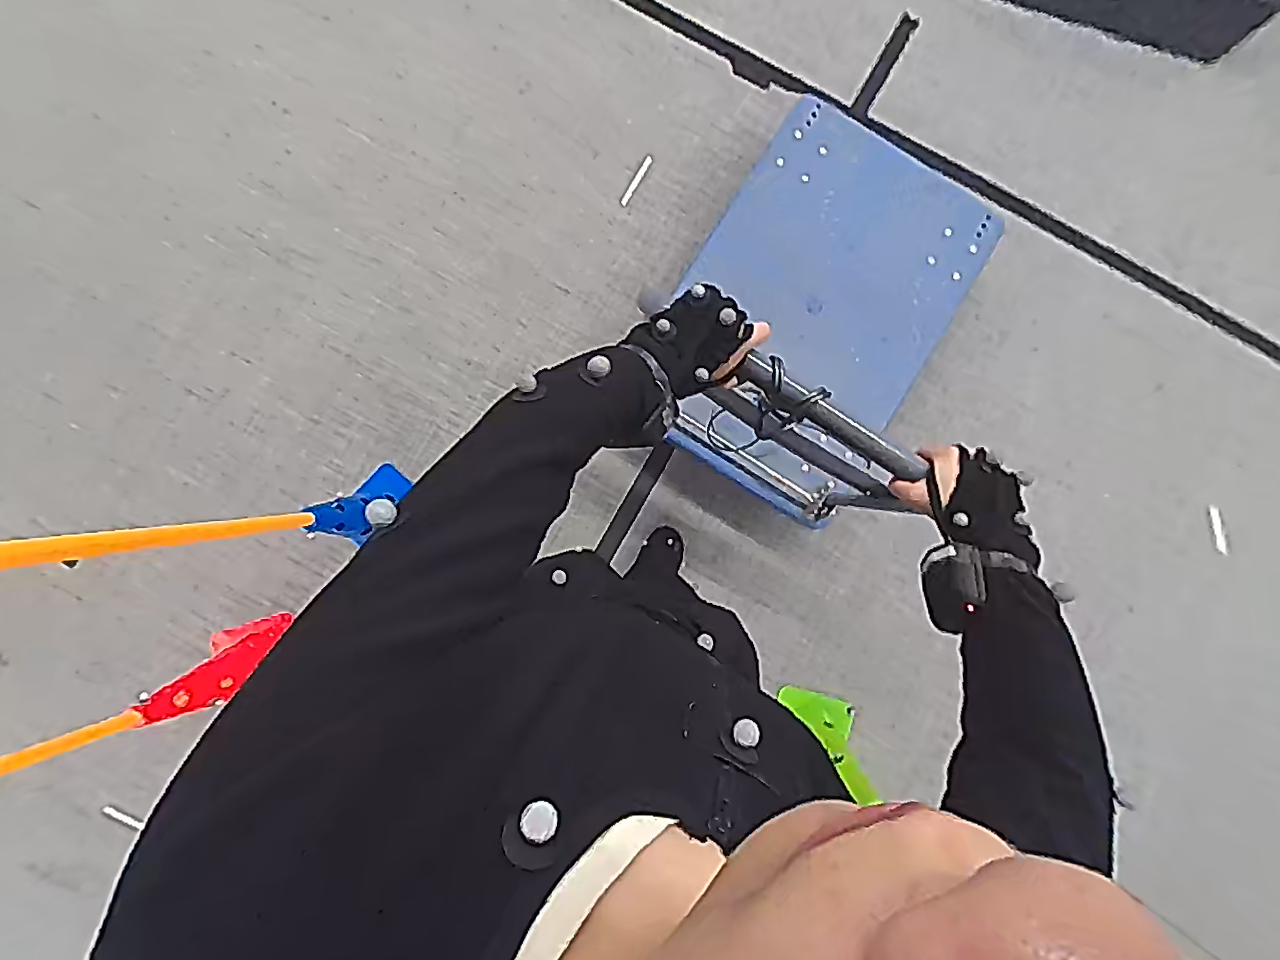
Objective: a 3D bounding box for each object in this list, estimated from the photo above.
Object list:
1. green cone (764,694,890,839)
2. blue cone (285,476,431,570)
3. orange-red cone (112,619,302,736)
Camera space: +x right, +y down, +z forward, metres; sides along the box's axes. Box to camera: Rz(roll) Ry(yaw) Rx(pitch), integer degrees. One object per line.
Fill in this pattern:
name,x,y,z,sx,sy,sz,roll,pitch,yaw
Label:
green cone,0.427,0.637,1.162,0.200,0.368,0.202,16,87,-2
blue cone,-0.623,0.095,1.160,0.193,0.380,0.192,44,86,0
orange-red cone,-0.905,0.434,1.109,0.199,0.360,0.198,-15,88,-5
